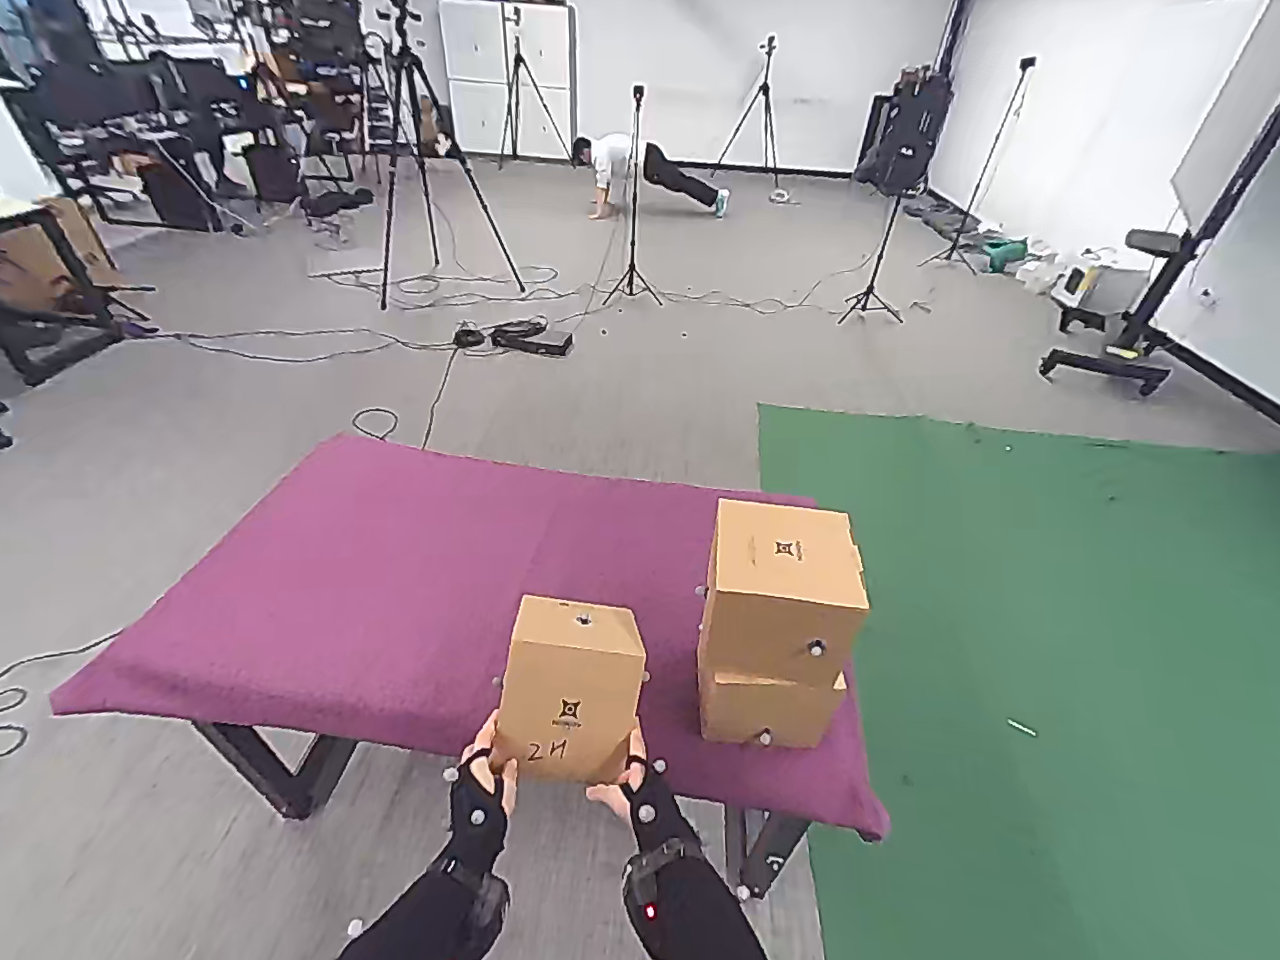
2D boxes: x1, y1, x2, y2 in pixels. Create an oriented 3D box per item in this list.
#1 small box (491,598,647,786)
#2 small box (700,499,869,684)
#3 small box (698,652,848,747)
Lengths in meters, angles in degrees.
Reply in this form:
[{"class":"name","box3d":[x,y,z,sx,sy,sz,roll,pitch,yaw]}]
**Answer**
[{"class":"small box","box3d":[-0.096,0.274,0.734,0.168,0.179,0.176,10,5,-7]},{"class":"small box","box3d":[0.181,0.149,0.721,0.179,0.176,0.168,6,39,6]},{"class":"small box","box3d":[0.186,0.283,0.816,0.179,0.176,0.168,3,39,1]}]
